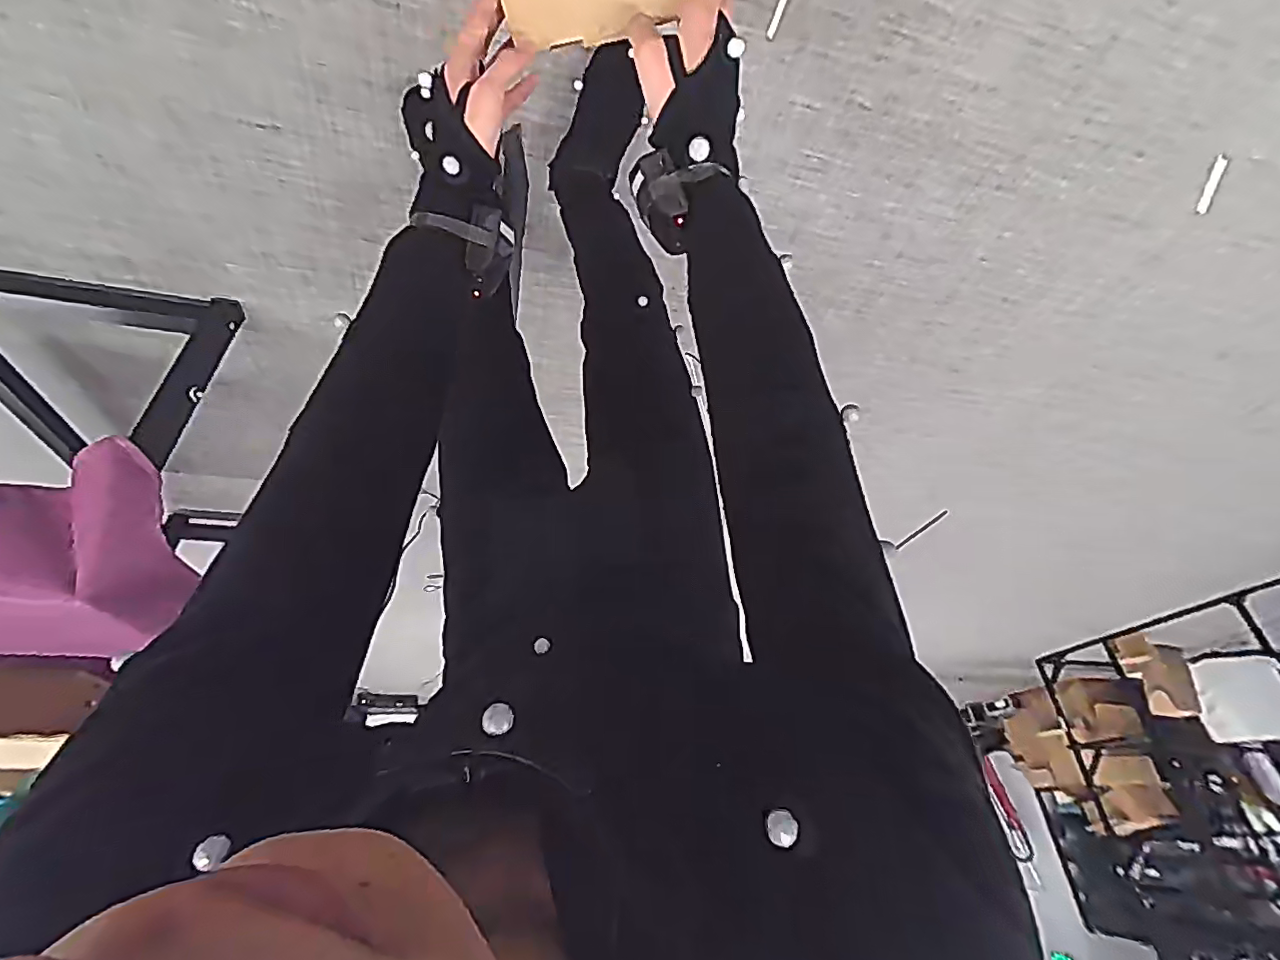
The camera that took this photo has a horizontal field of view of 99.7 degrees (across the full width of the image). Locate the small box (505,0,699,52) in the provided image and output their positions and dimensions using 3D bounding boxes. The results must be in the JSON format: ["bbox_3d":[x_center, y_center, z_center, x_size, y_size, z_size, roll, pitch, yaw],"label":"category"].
[{"bbox_3d":[-0.041,-0.505,0.452,0.168,0.176,0.179,-7,143,7],"label":"small box"}]
